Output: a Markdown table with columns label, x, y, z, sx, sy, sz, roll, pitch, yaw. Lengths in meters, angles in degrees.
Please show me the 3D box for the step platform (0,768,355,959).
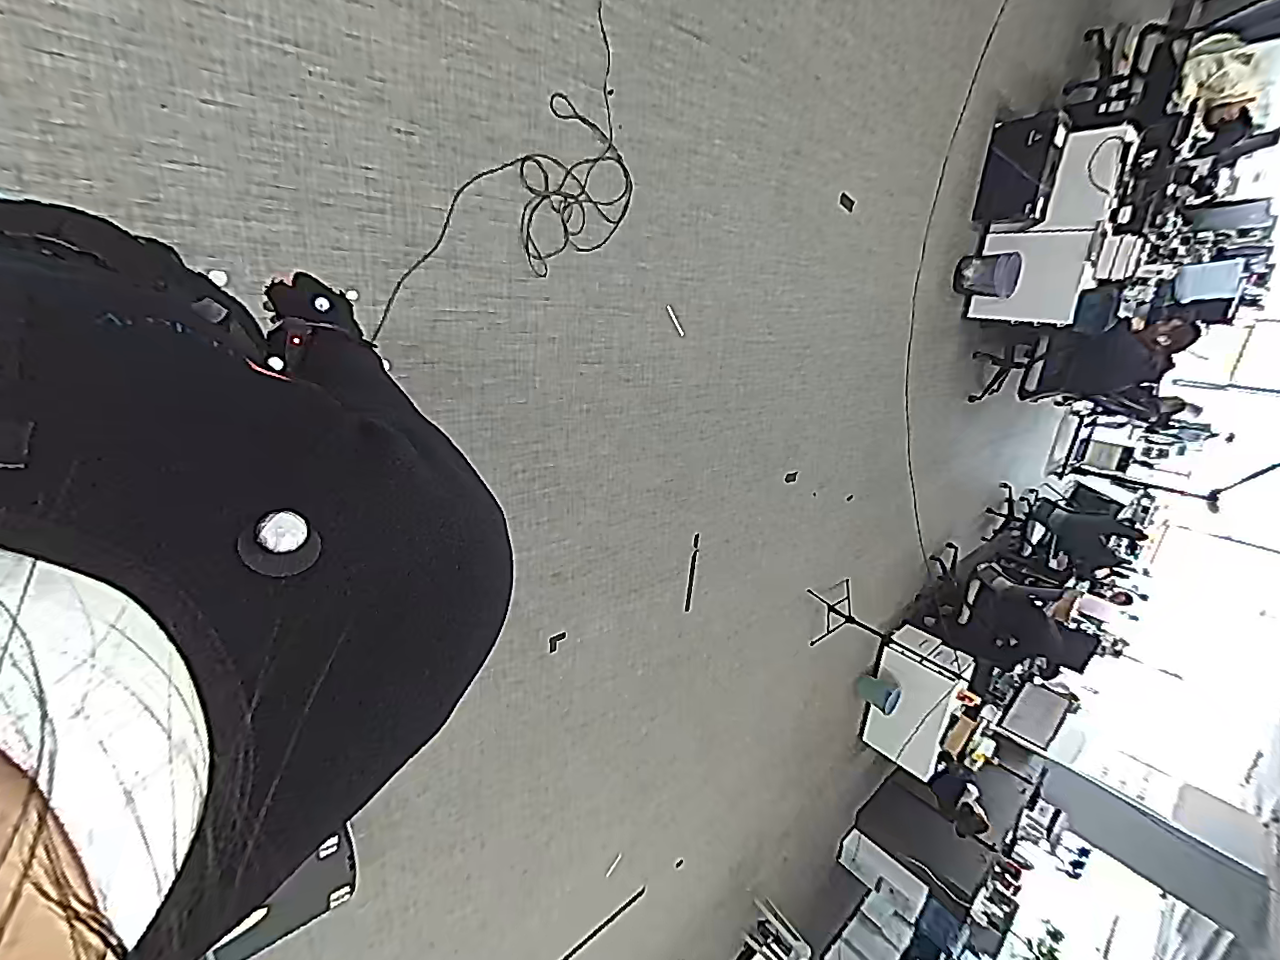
| label | x | y | z | sx | sy | sz | roll | pitch | yaw |
| --- | --- | --- | --- | --- | --- | --- | --- | --- | --- |
| step platform | -1.105 | 1.049 | 1.365 | 0.684 | 0.204 | 0.286 | -14 | 116 | -38 |
